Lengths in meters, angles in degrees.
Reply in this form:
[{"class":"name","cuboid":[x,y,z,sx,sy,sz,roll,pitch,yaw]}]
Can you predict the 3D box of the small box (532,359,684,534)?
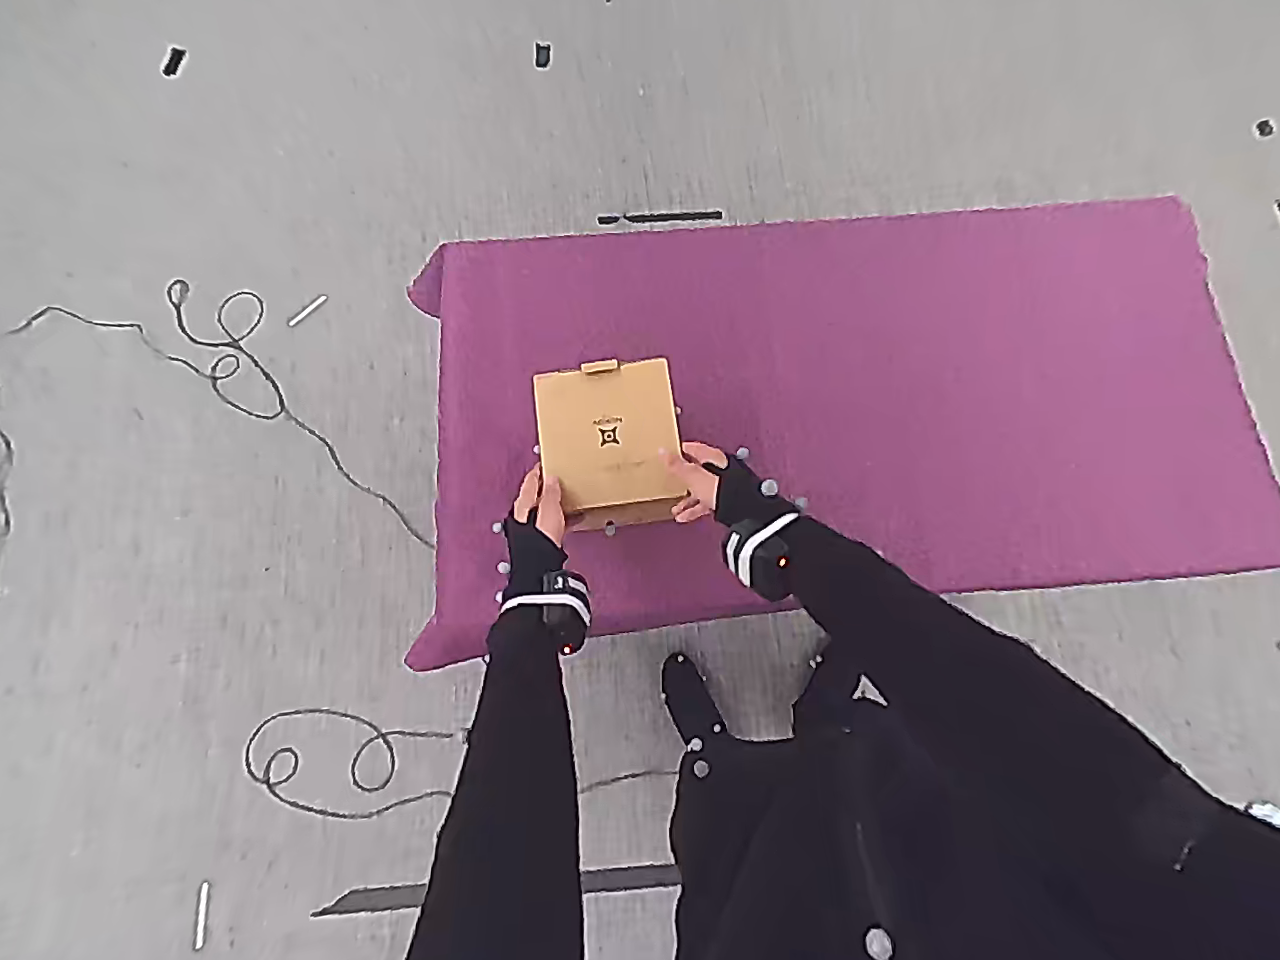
[{"class":"small box","cuboid":[-0.040,-0.035,0.706,0.168,0.176,0.179,-7,77,-1]}]
